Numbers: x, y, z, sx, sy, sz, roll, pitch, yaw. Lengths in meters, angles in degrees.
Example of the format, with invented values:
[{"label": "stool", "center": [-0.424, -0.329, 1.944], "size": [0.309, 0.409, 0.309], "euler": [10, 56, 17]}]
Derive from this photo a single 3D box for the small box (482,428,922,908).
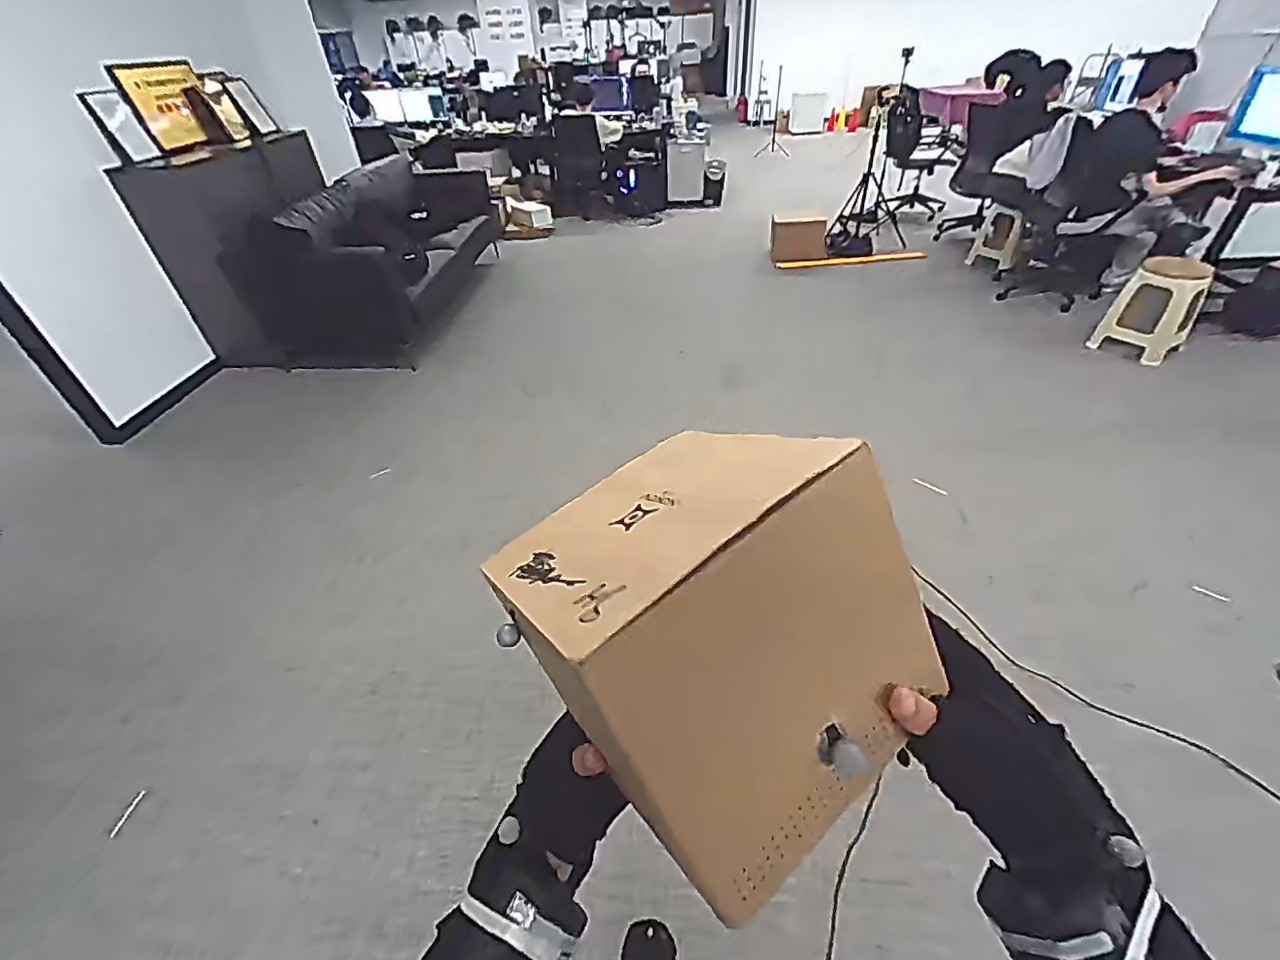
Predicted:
[{"label": "small box", "center": [0.038, 0.082, 0.321], "size": [0.179, 0.176, 0.168], "euler": [-33, 18, -21]}]
